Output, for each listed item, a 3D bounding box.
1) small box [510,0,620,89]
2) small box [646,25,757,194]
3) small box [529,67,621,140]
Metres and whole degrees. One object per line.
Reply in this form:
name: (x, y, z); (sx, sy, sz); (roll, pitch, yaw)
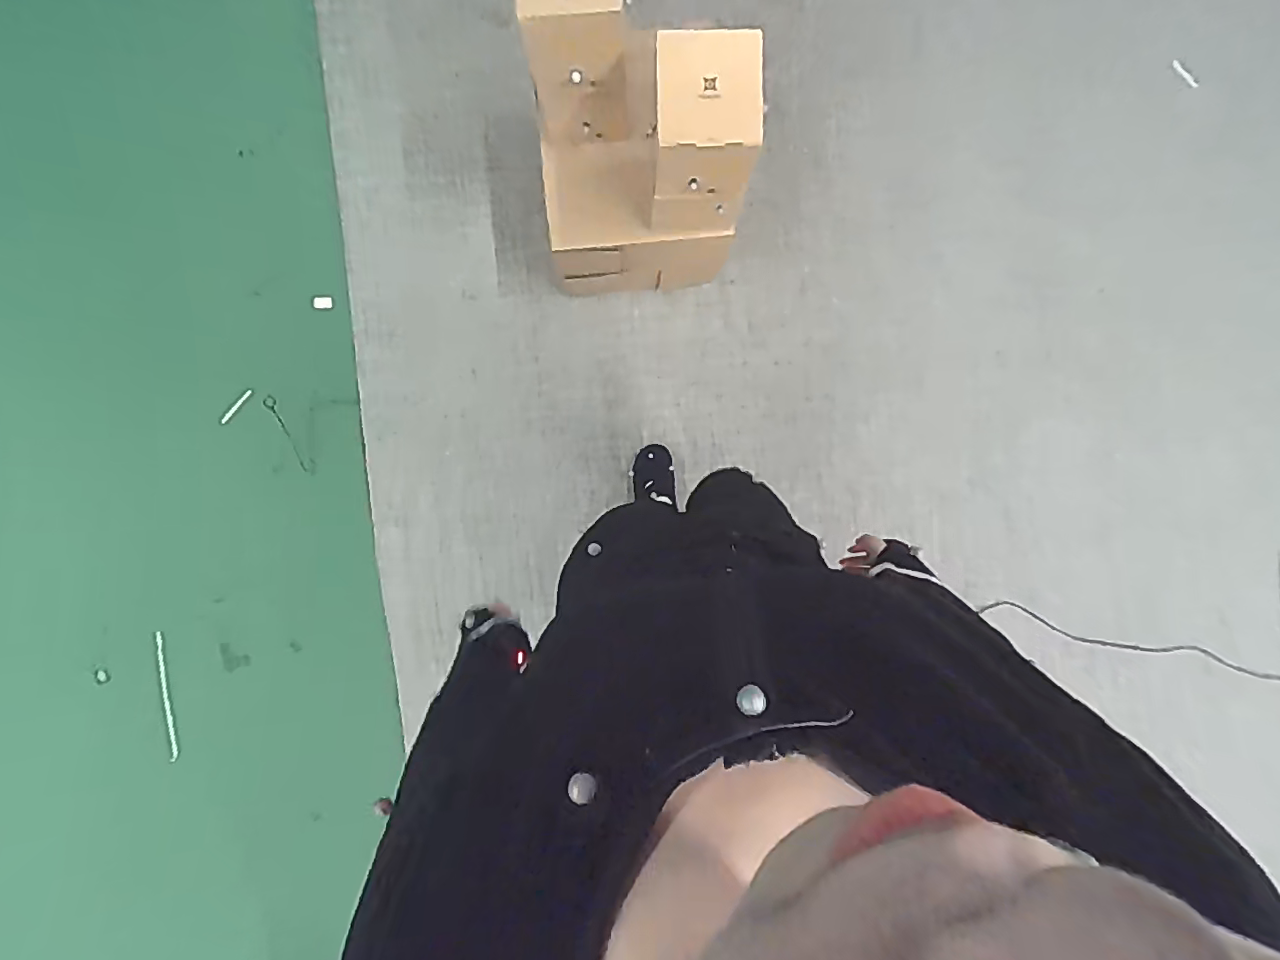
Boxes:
small box: (-0.120, -0.803, 0.906); (0.168, 0.176, 0.179); (-3, 90, 1)
small box: (0.097, -0.613, 0.911); (0.168, 0.176, 0.179); (-2, 92, -1)
small box: (-0.127, -0.817, 1.071); (0.168, 0.176, 0.179); (-5, 89, 1)
